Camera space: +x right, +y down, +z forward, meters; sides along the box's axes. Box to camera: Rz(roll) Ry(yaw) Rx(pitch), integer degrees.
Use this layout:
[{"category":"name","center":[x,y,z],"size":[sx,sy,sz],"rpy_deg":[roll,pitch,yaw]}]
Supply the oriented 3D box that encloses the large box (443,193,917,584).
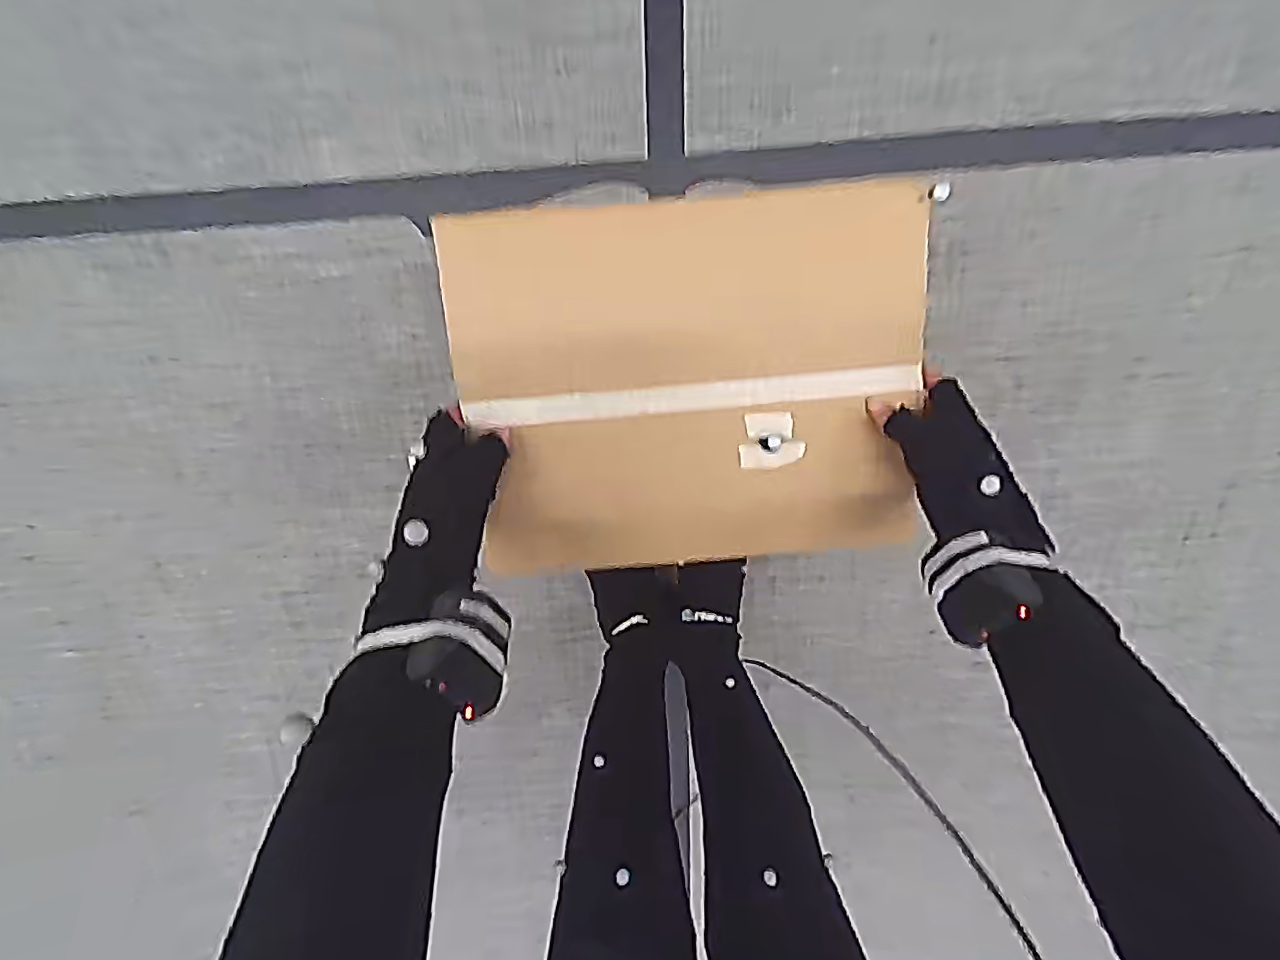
[{"category":"large box","center":[0.041,-0.102,0.625],"size":[0.408,0.320,0.320],"rpy_deg":[-6,104,-1]}]
